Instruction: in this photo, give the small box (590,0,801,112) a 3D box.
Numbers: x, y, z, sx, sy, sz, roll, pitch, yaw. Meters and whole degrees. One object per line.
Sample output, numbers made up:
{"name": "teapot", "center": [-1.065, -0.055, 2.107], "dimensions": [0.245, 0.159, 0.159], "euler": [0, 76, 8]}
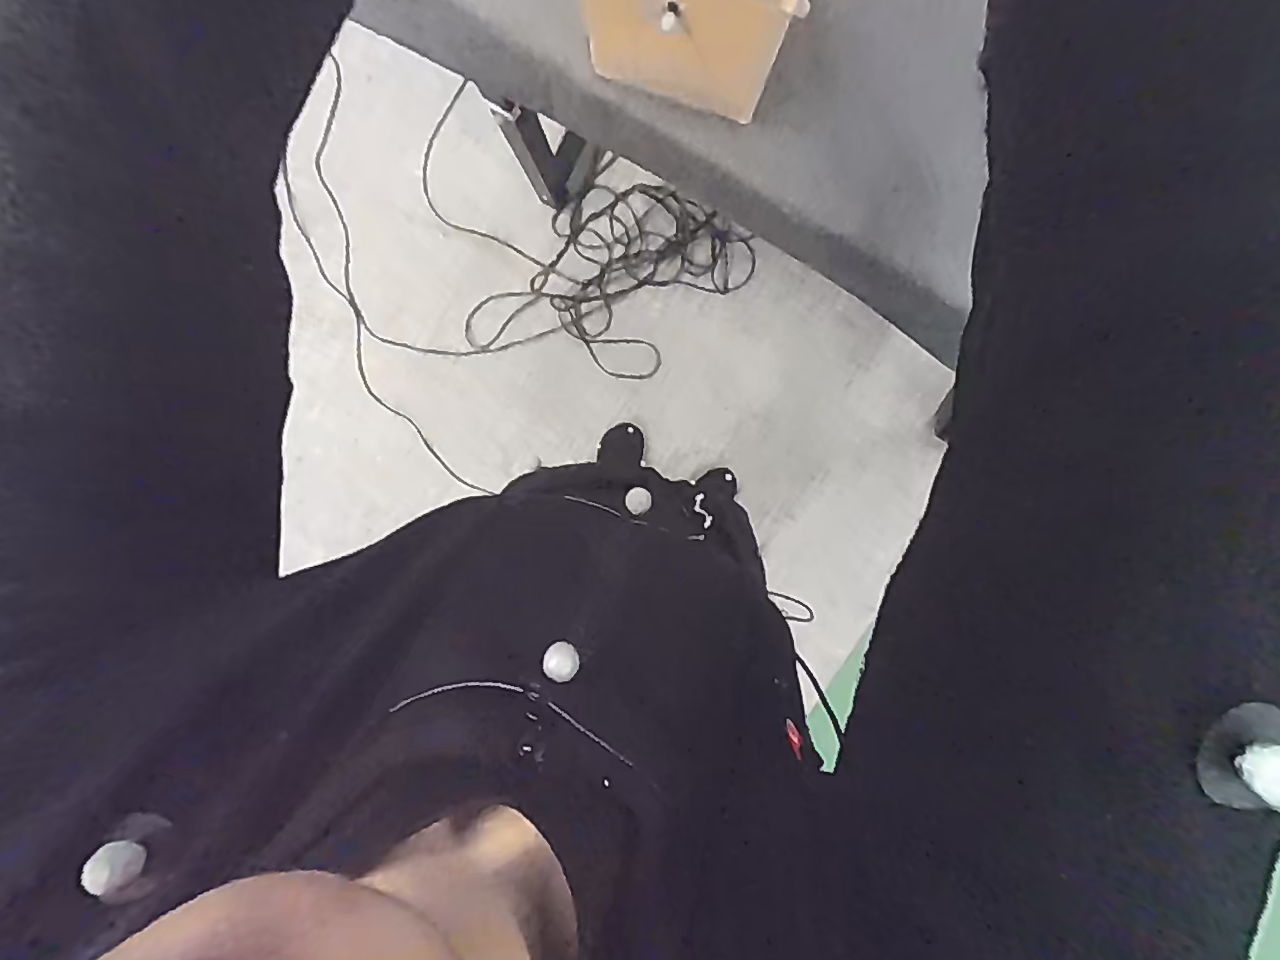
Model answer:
{"name": "small box", "center": [0.061, -0.469, 0.479], "dimensions": [0.179, 0.176, 0.168], "euler": [18, 98, -2]}
